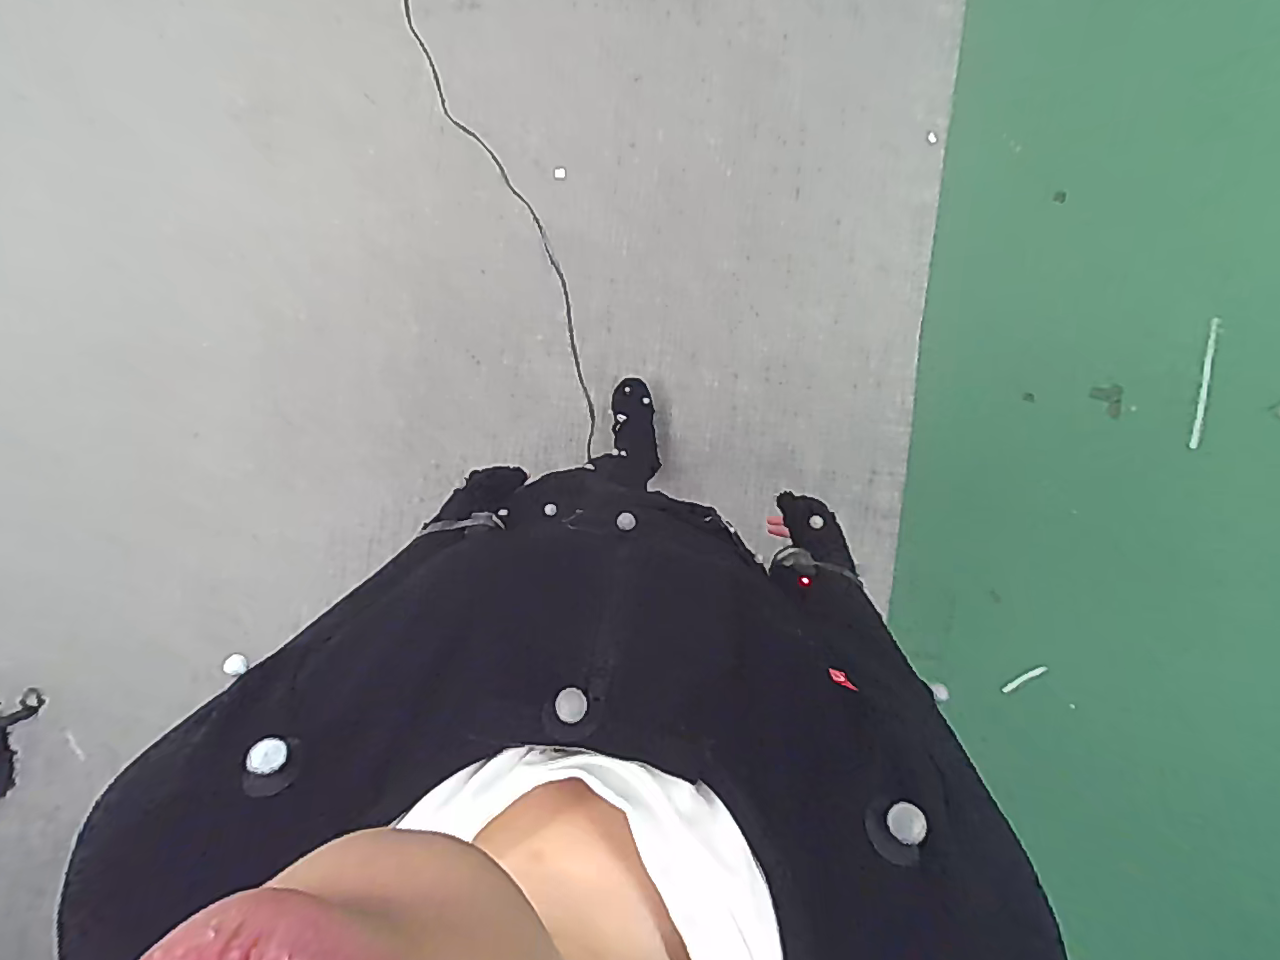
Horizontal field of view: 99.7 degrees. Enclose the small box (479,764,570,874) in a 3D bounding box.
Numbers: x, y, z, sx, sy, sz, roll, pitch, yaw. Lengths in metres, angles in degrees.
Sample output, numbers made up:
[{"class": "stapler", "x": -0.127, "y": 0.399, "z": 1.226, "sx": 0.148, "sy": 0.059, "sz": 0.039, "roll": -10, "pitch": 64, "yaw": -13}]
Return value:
[{"class": "small box", "x": -0.296, "y": 0.877, "z": 1.419, "sx": 0.179, "sy": 0.176, "sz": 0.168, "roll": 9, "pitch": 92, "yaw": 5}]
